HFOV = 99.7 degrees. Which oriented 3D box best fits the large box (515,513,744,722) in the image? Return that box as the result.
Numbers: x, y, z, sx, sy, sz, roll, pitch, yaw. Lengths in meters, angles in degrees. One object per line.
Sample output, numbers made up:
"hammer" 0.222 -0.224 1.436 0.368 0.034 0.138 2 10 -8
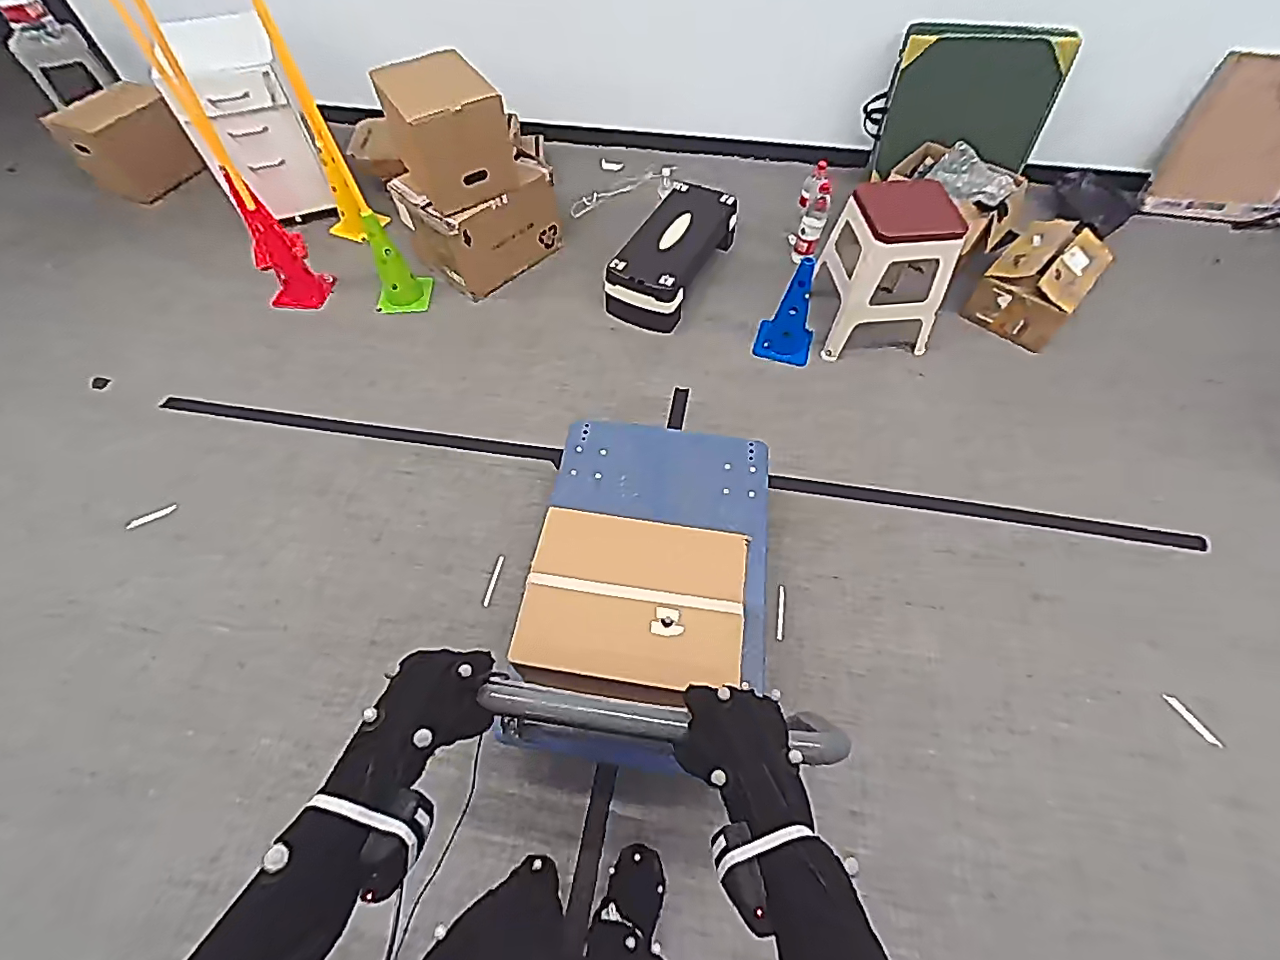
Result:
"large box" -0.013 0.299 1.147 0.408 0.320 0.320 8 58 3
